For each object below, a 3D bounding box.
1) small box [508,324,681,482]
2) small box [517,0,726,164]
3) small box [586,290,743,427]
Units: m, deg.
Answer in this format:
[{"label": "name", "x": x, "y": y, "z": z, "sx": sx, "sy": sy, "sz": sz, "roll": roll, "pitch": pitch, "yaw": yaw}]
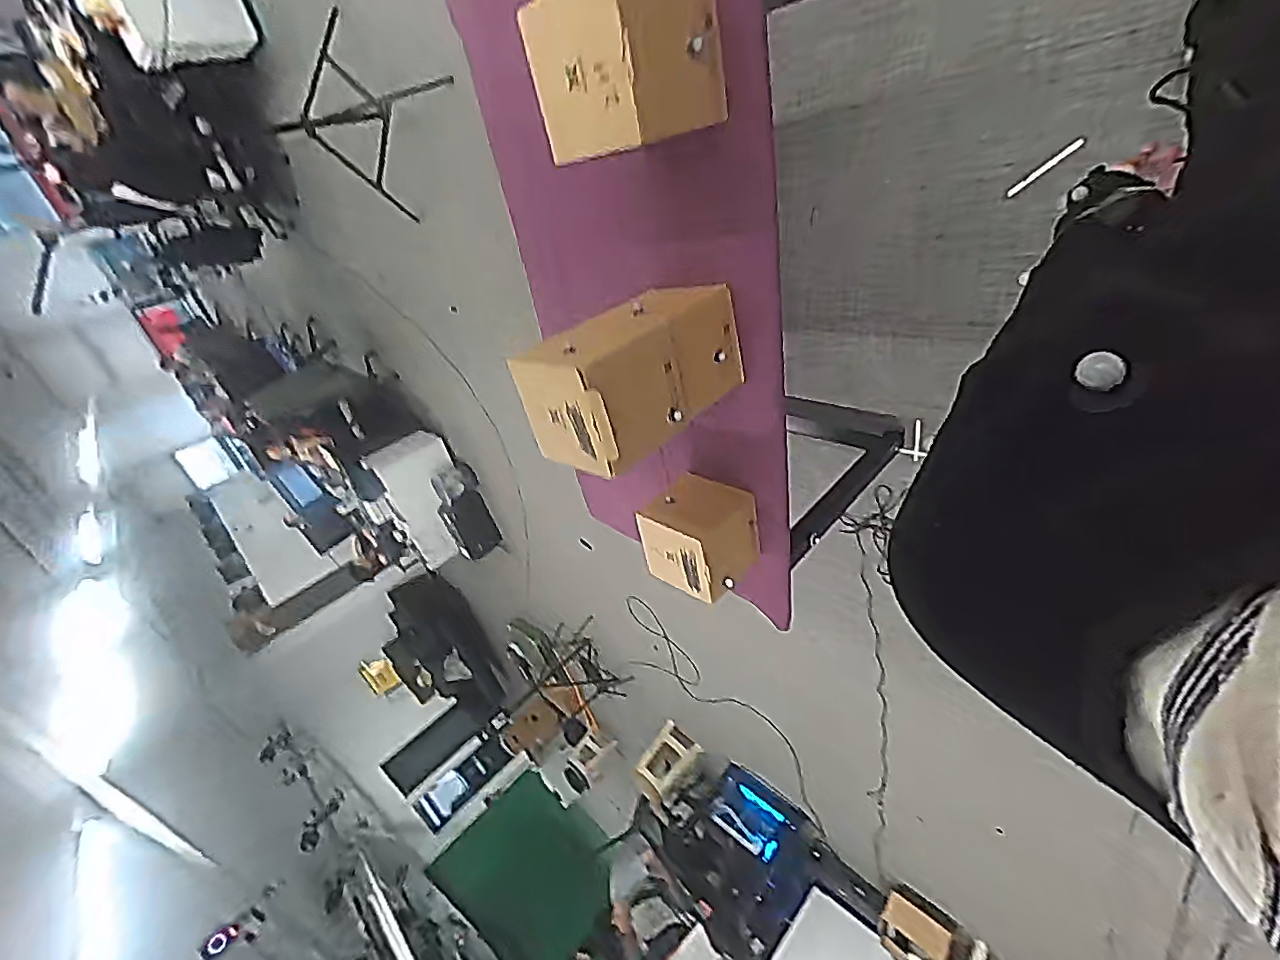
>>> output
[{"label": "small box", "x": -0.056, "y": -0.122, "z": 0.797, "sx": 0.179, "sy": 0.176, "sz": 0.168, "roll": 17, "pitch": 133, "yaw": 44}, {"label": "small box", "x": -0.018, "y": -0.513, "z": 0.676, "sx": 0.179, "sy": 0.176, "sz": 0.168, "roll": 20, "pitch": 137, "yaw": 42}, {"label": "small box", "x": 0.045, "y": -0.206, "z": 0.897, "sx": 0.179, "sy": 0.176, "sz": 0.168, "roll": 15, "pitch": 132, "yaw": 44}]
